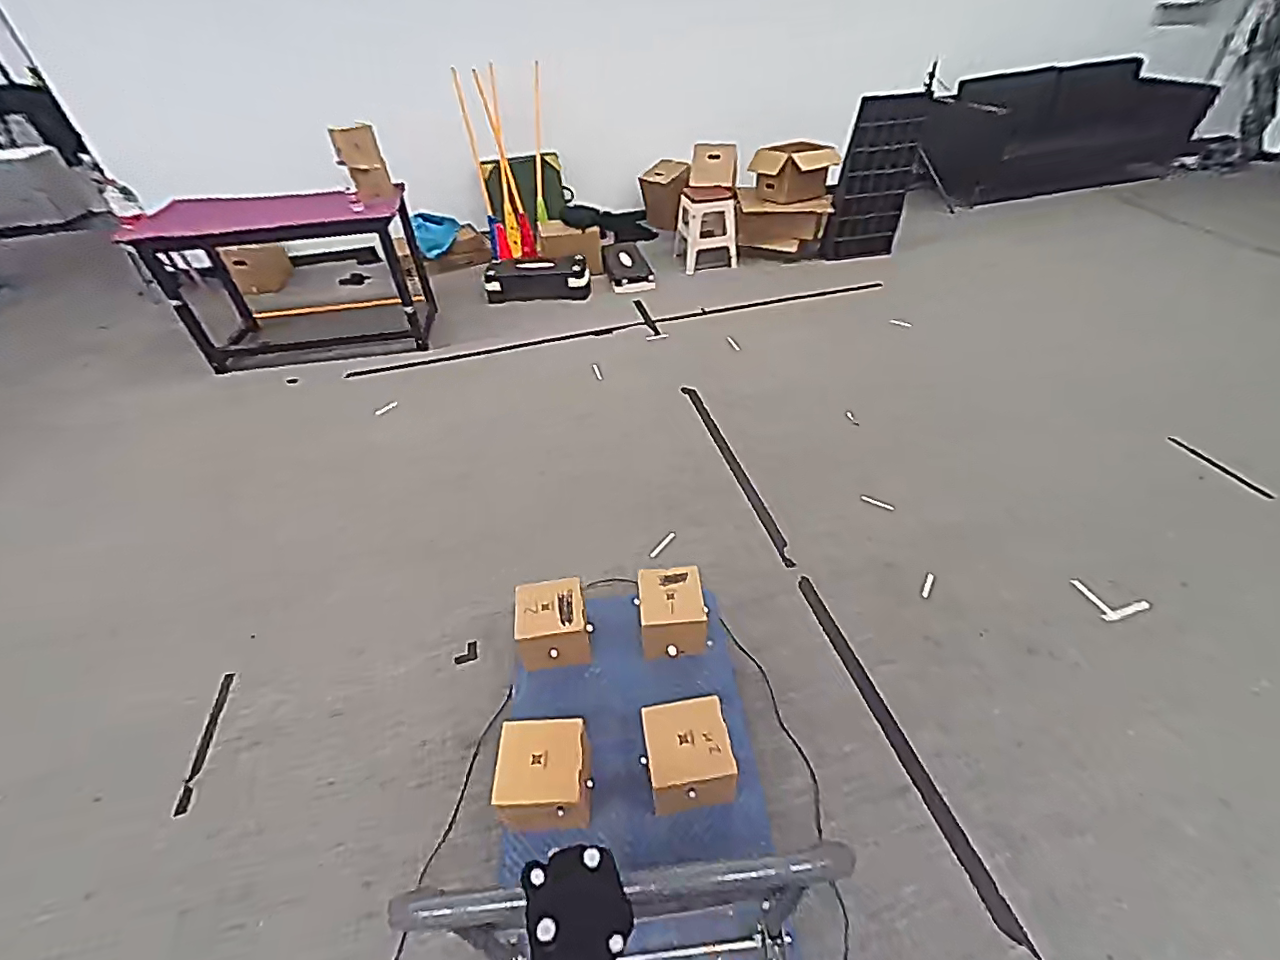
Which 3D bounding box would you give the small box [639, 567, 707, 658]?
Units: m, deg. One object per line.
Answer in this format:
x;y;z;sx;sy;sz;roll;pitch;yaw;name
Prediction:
0.084;0.357;1.458;0.168;0.176;0.179;-4;43;-1;small box

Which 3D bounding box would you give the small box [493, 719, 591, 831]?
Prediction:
-0.203;0.639;1.168;0.179;0.176;0.168;-2;42;-1;small box

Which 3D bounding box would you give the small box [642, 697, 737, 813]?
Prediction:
0.105;0.604;1.184;0.179;0.176;0.168;-8;42;-4;small box
